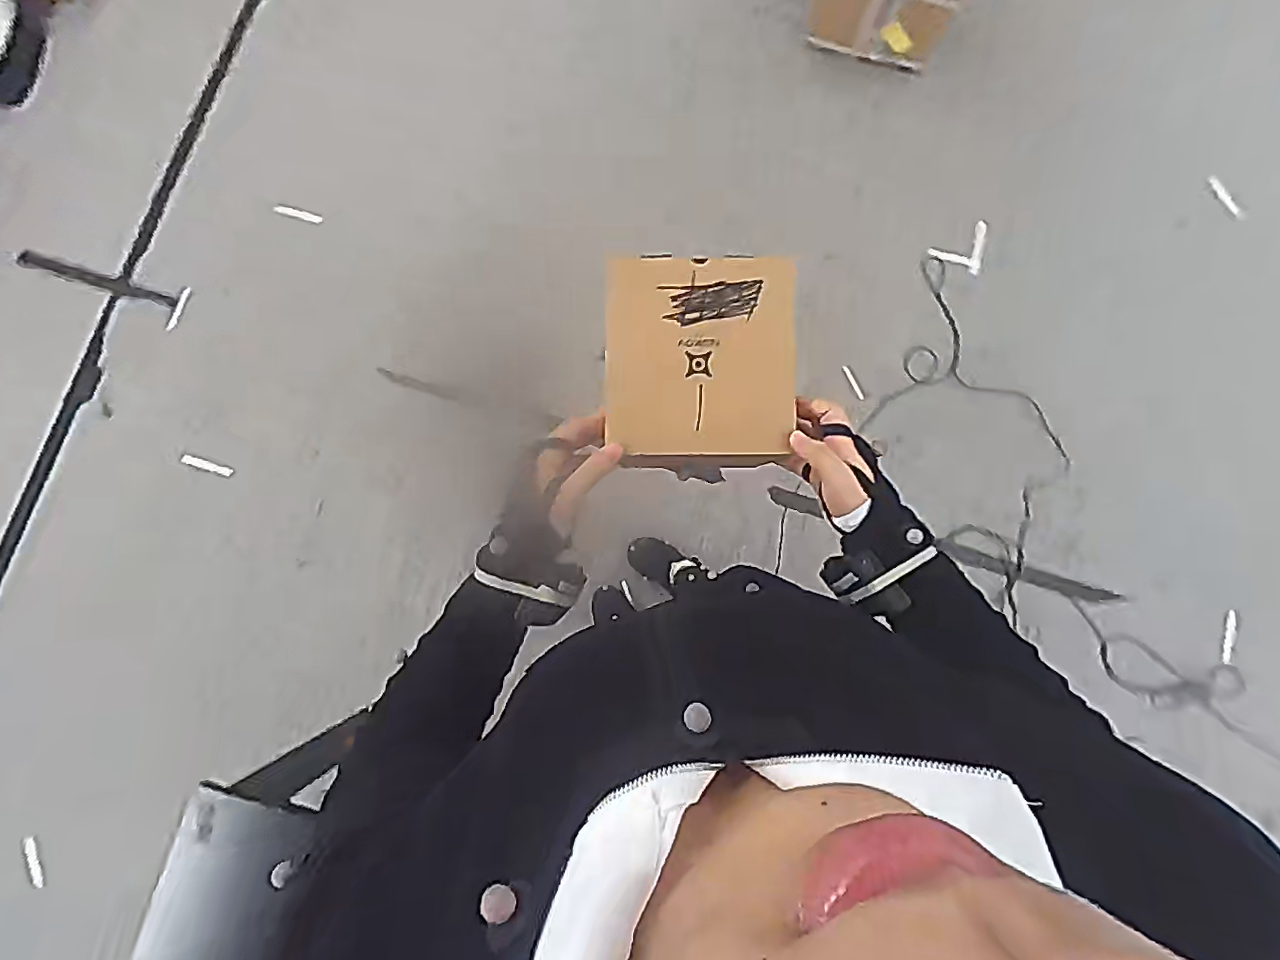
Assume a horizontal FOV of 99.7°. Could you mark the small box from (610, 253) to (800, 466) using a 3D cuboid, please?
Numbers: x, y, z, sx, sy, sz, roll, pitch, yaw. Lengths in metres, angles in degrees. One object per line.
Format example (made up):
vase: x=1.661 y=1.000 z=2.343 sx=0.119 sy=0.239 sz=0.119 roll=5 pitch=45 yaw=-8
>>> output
small box: x=0.057 y=-0.108 z=0.548 sx=0.168 sy=0.176 sz=0.179 roll=0 pitch=88 yaw=1
